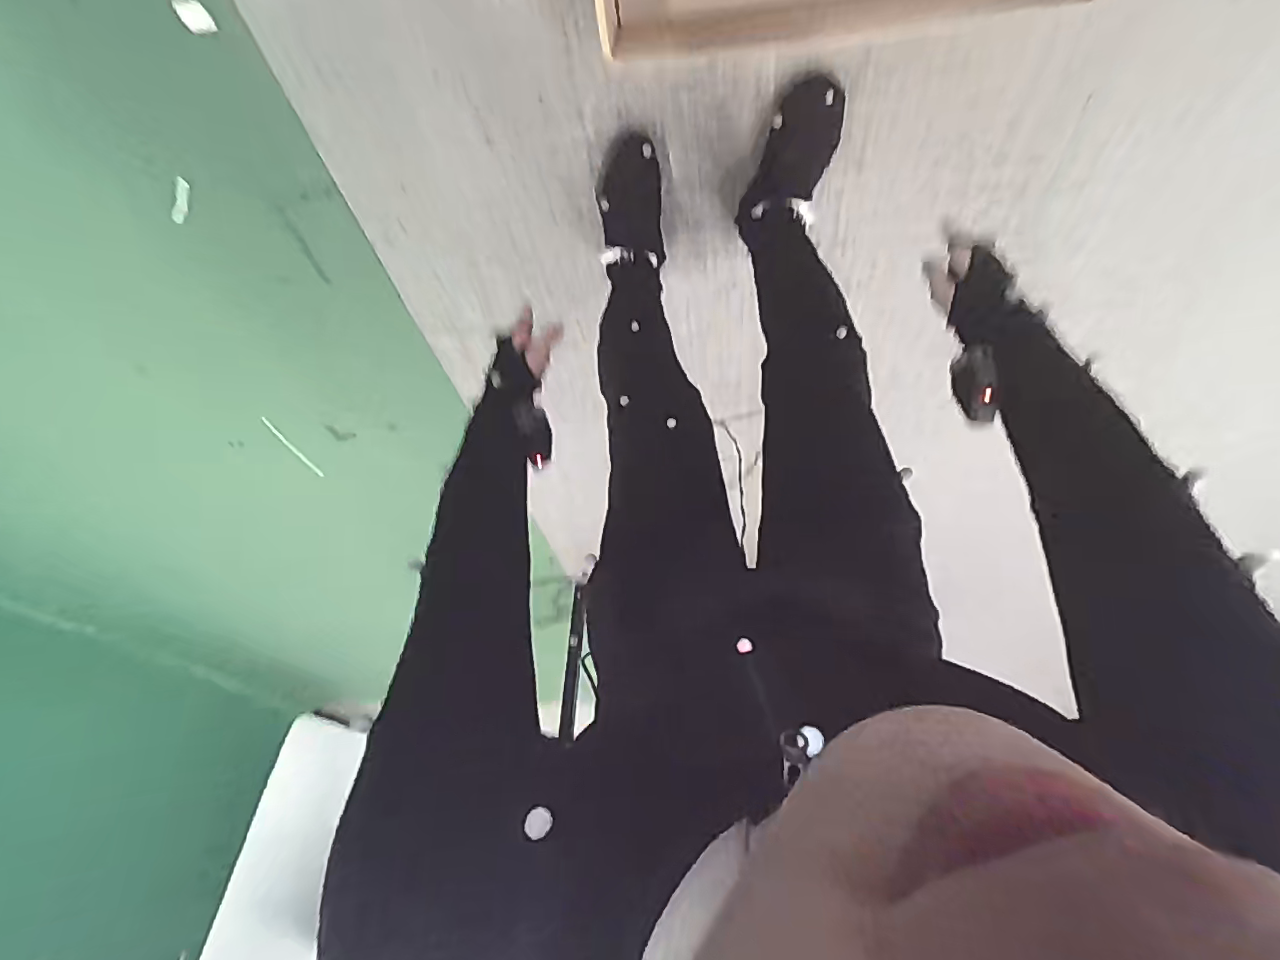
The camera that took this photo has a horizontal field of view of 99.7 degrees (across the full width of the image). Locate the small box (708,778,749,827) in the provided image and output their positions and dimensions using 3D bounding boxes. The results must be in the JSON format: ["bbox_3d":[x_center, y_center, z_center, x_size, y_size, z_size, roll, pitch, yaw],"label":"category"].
[{"bbox_3d":[0.366,1.338,2.251,0.168,0.176,0.179,-3,143,8],"label":"small box"}]
